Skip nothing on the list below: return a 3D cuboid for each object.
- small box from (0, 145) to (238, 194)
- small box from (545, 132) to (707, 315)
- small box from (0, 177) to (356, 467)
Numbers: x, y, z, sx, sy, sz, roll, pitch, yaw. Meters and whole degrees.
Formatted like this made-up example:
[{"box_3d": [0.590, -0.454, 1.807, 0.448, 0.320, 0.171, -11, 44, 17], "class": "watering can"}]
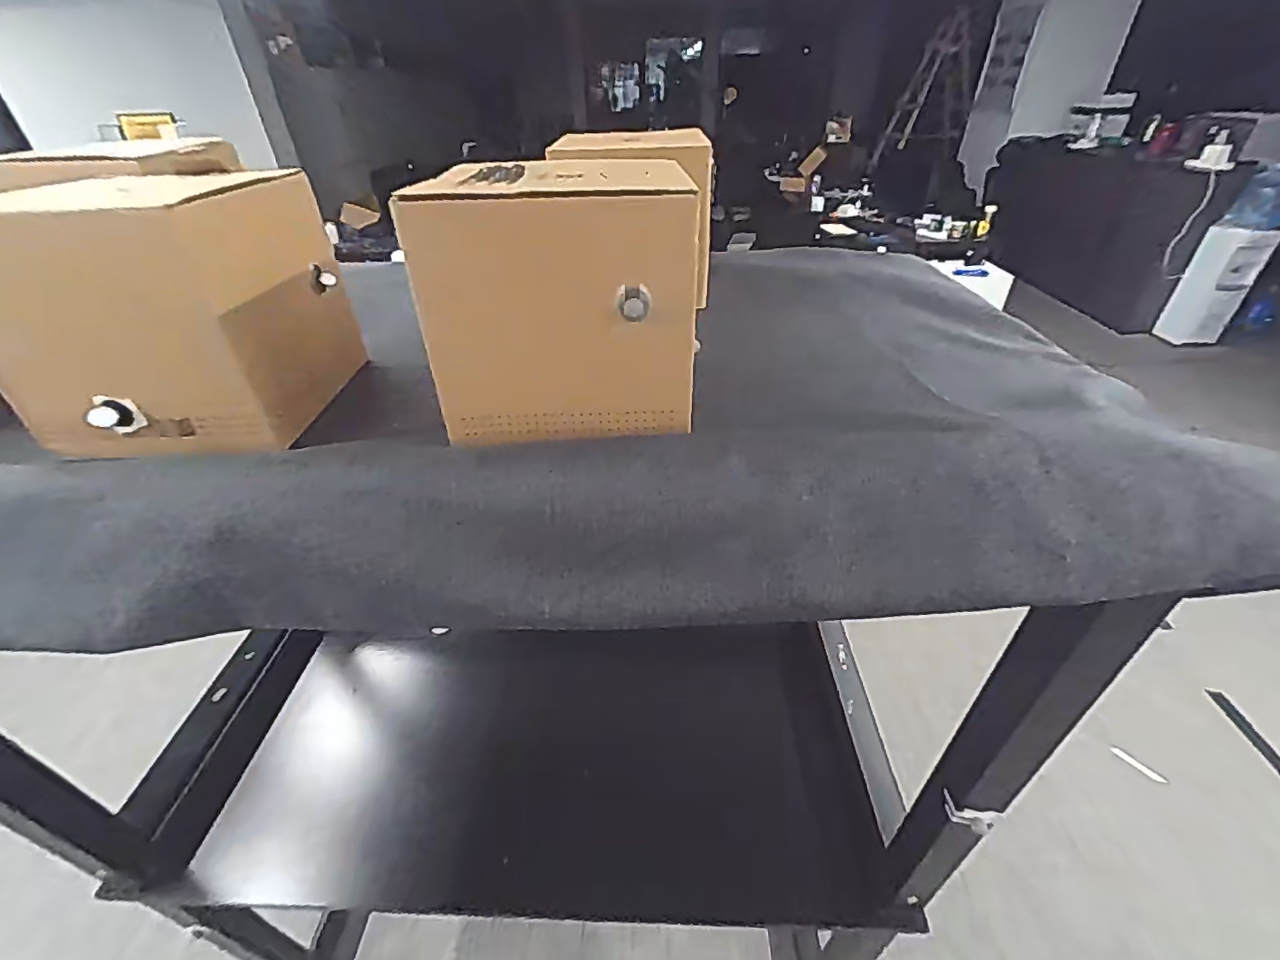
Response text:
[{"box_3d": [-0.586, -0.295, 0.652, 0.179, 0.176, 0.168, -1, 37, 0], "class": "small box"}, {"box_3d": [-0.008, -0.303, 0.643, 0.168, 0.176, 0.179, -1, 36, 2], "class": "small box"}, {"box_3d": [-0.346, -0.126, 0.414, 0.168, 0.176, 0.179, -3, 35, -1], "class": "small box"}]
